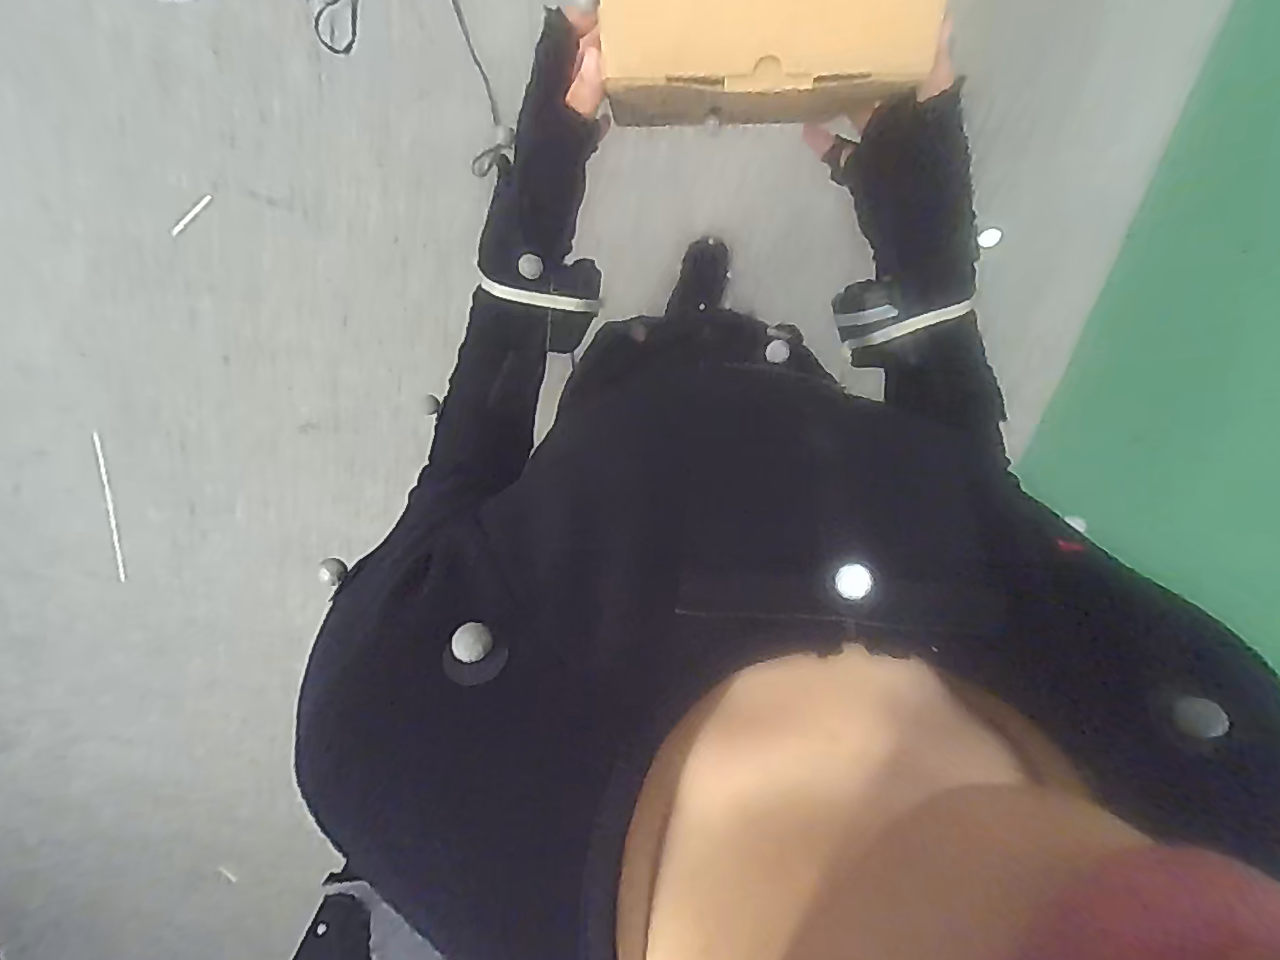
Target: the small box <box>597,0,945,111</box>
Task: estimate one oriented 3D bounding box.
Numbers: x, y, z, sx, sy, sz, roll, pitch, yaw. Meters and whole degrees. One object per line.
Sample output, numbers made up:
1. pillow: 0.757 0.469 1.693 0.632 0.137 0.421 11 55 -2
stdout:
1. small box: 0.059 -0.318 0.293 0.168 0.176 0.179 -1 118 1
